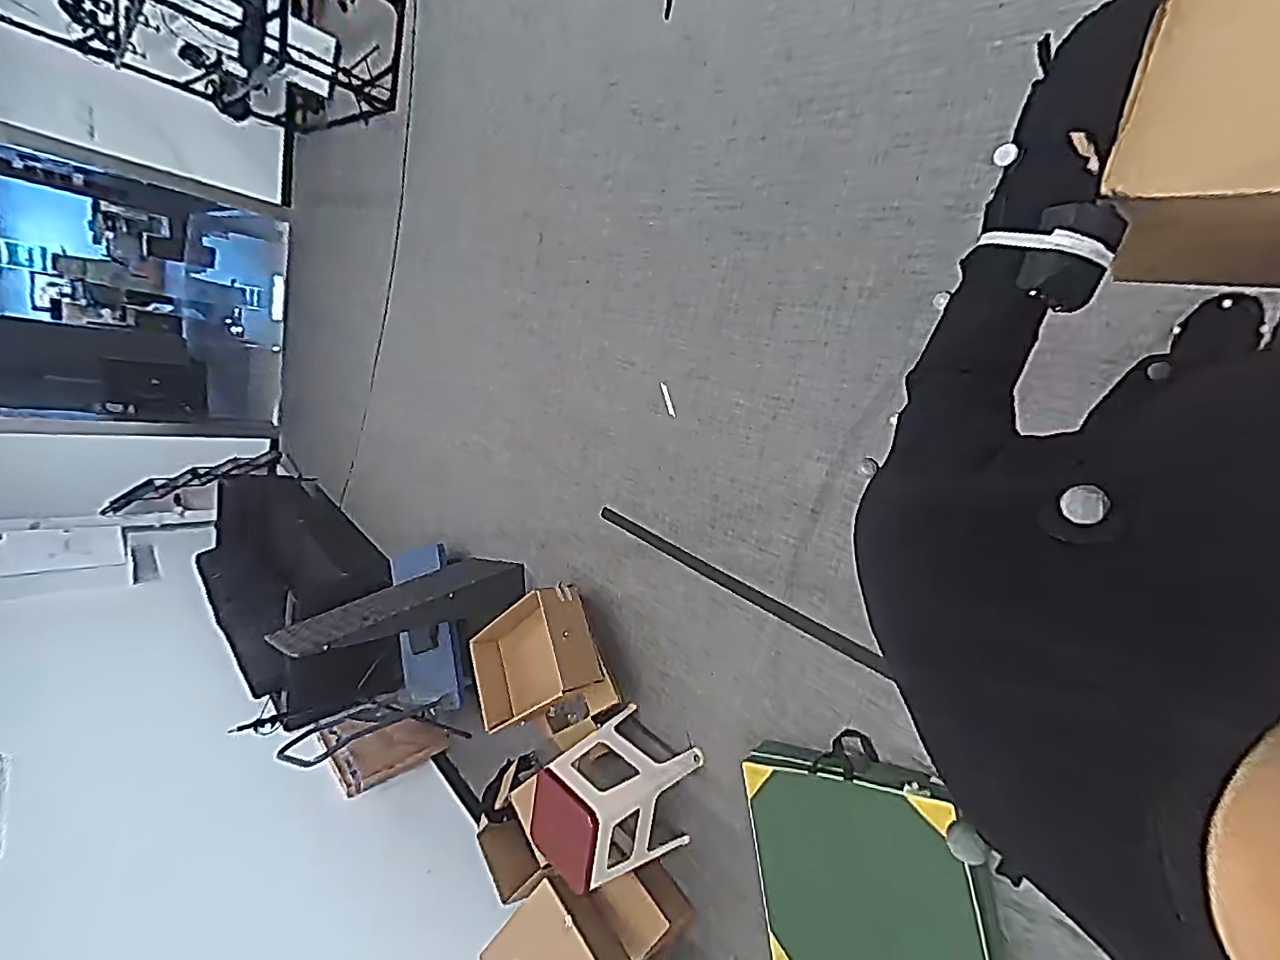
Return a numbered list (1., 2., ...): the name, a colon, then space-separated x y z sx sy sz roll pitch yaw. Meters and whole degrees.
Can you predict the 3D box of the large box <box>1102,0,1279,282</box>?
1. large box: 0.611 -0.320 0.360 0.408 0.320 0.320 21 108 39
